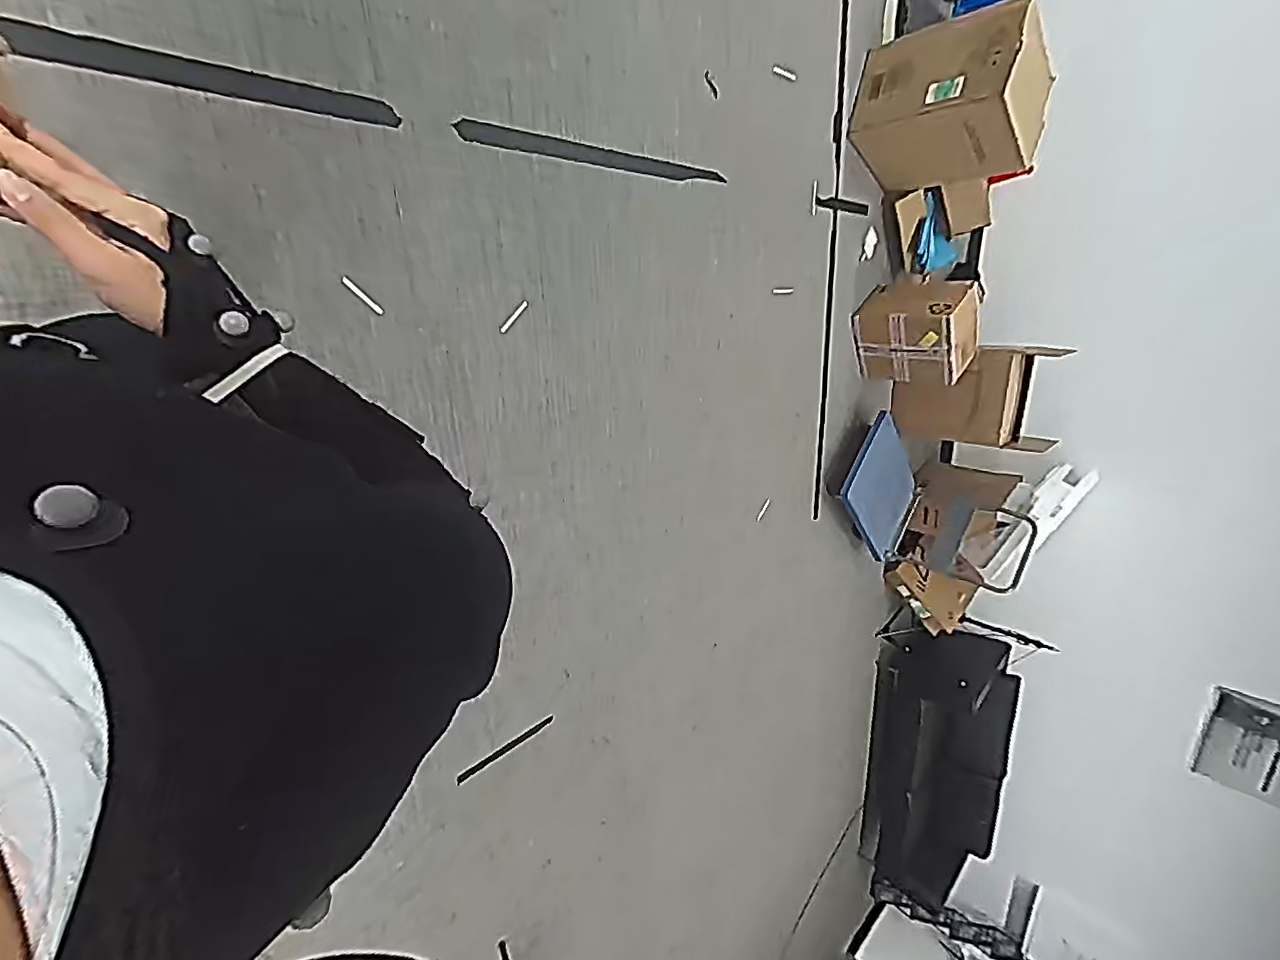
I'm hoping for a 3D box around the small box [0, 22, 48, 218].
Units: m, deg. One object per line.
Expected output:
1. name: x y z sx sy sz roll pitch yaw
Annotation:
1. small box: -0.451 -0.249 0.272 0.168 0.176 0.179 -14 110 -37
